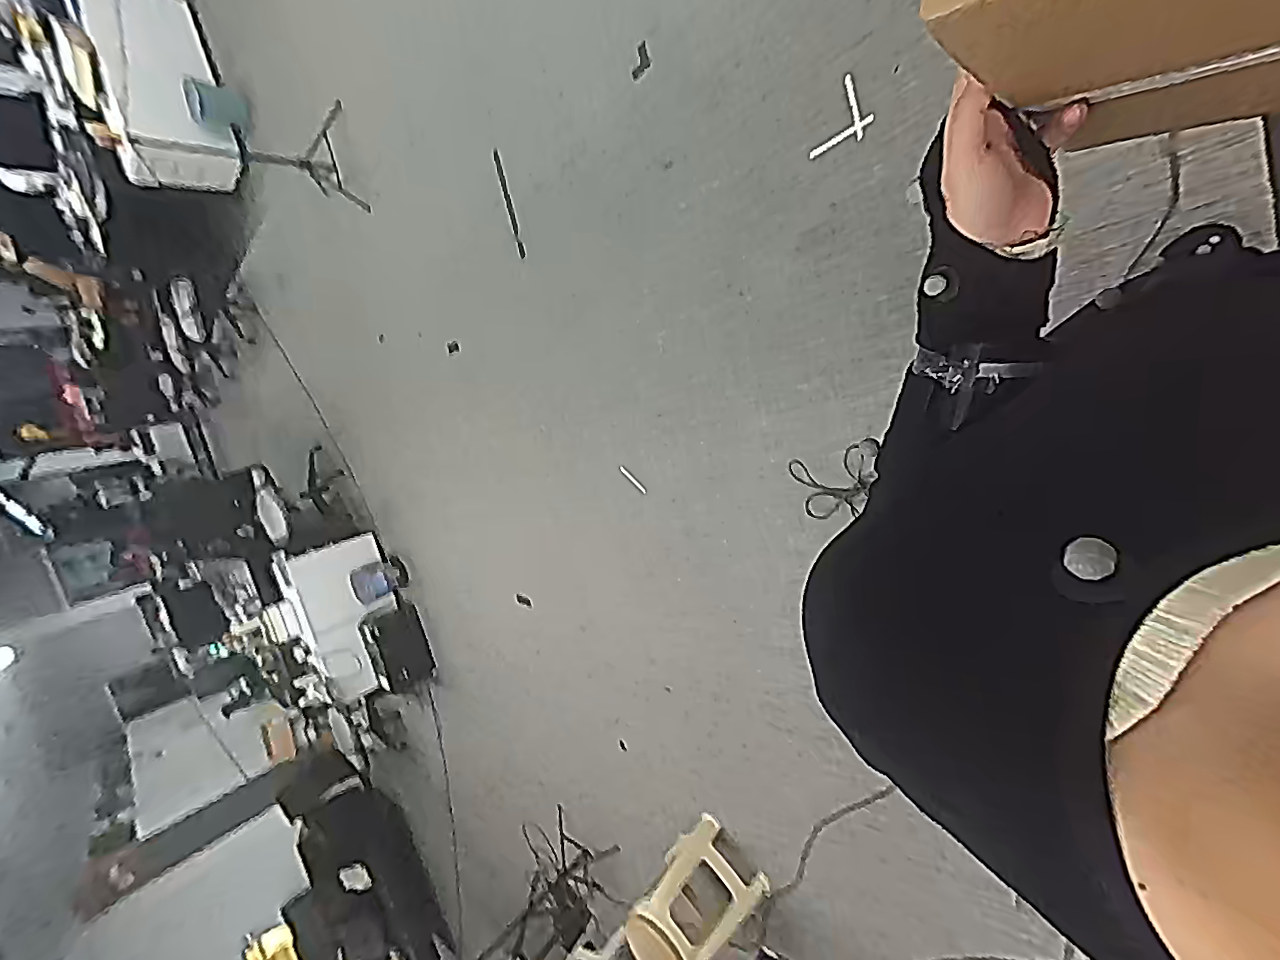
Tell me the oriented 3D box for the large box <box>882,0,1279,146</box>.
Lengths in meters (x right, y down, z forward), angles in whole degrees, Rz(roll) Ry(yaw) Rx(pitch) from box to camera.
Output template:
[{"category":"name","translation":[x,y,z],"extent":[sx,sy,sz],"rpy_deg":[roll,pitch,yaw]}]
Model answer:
[{"category":"large box","translation":[0.334,-0.337,0.144],"extent":[0.408,0.320,0.320],"rpy_deg":[13,115,46]}]
